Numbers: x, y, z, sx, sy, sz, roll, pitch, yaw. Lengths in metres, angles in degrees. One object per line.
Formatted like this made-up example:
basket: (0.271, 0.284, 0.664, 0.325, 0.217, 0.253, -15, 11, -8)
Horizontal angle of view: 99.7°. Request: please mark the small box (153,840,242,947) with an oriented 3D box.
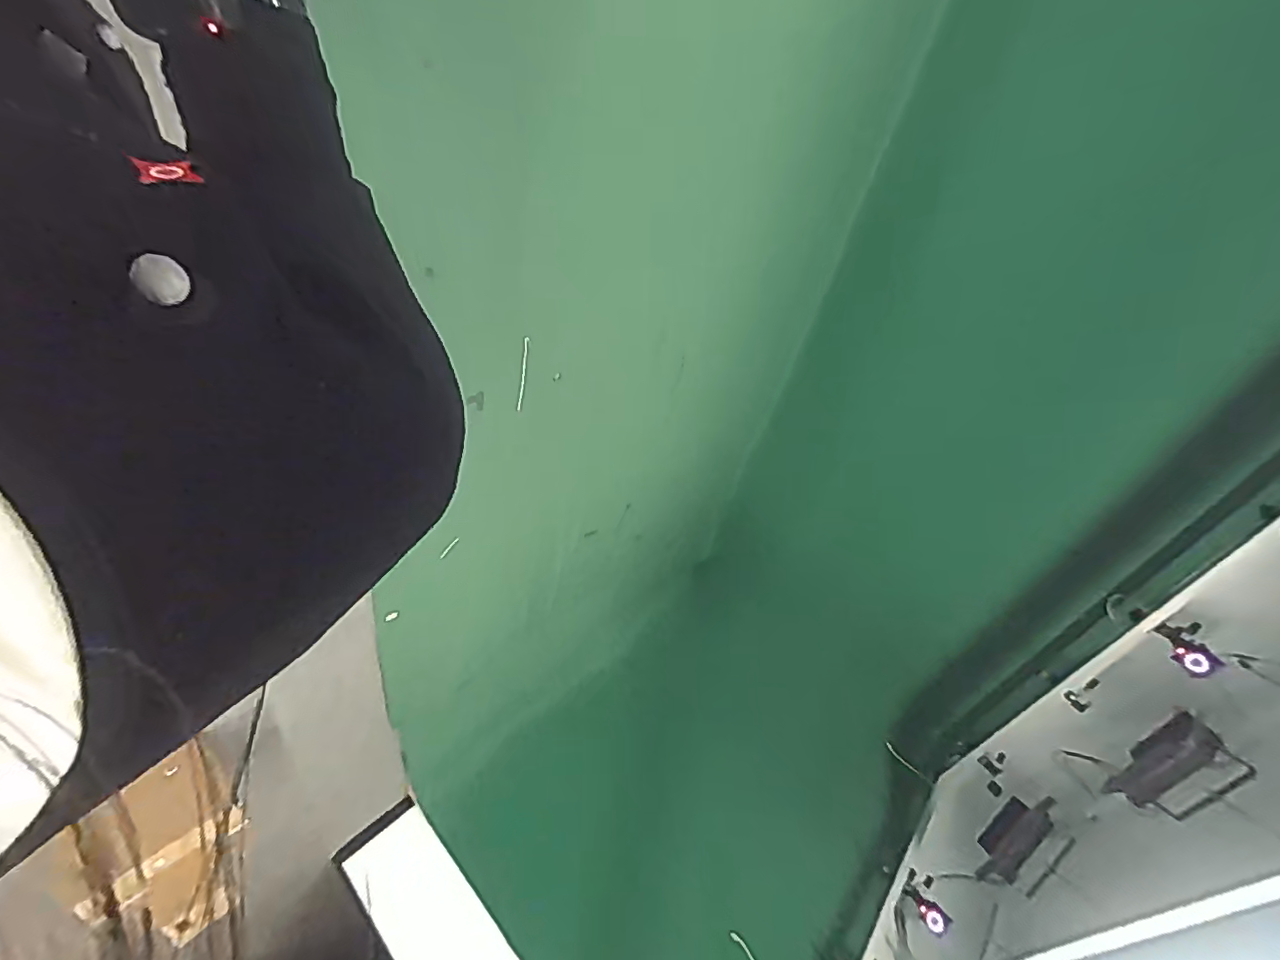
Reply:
small box: (-1.401, 1.299, 1.709, 0.179, 0.176, 0.168, -23, 138, -46)
